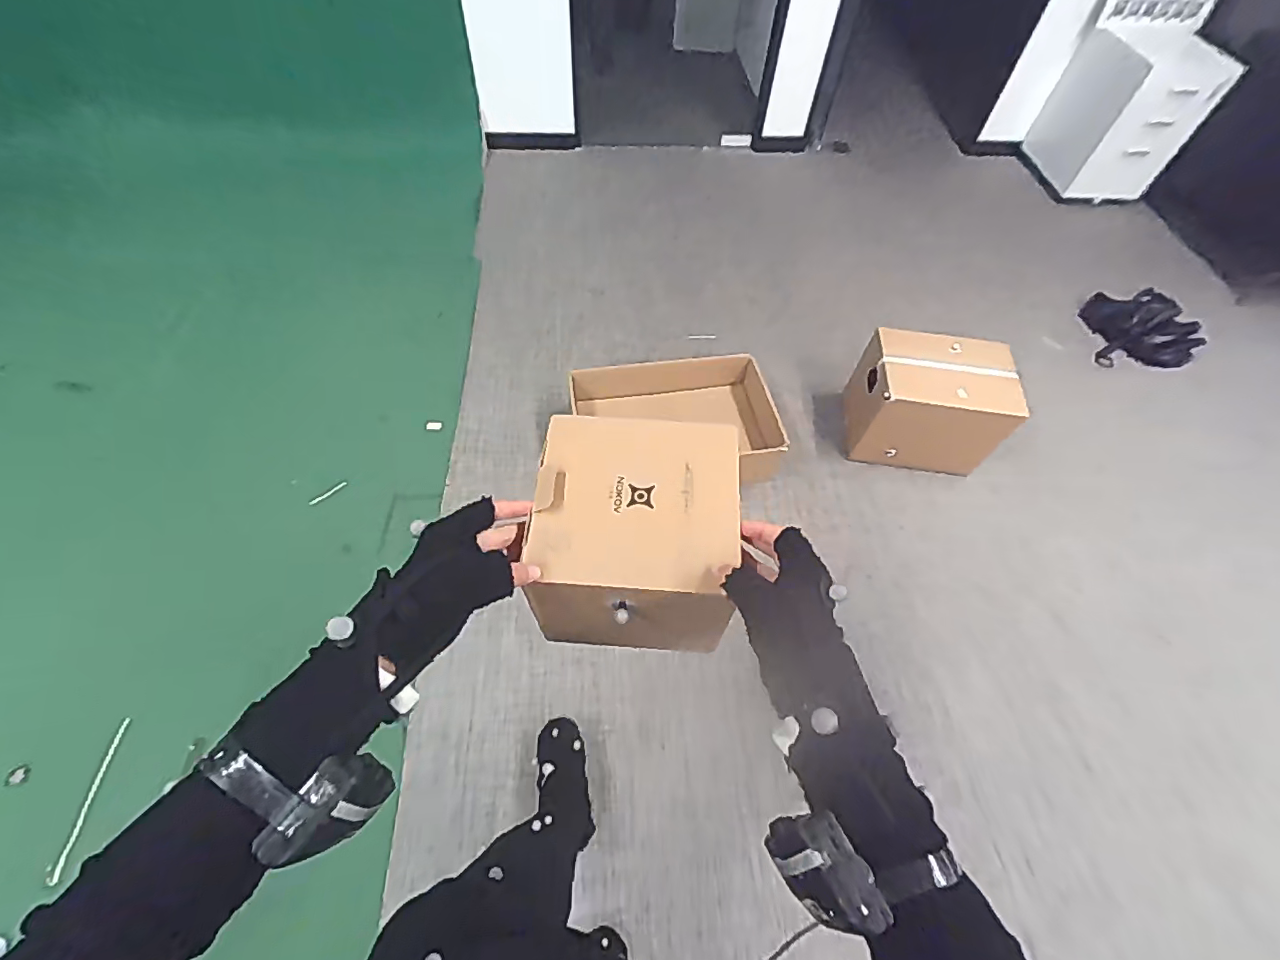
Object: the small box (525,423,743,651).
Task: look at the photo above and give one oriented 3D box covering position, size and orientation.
[{"bbox_3d":[-0.002,0.063,0.535,0.179,0.176,0.168,4,57,0],"label":"small box"}]
